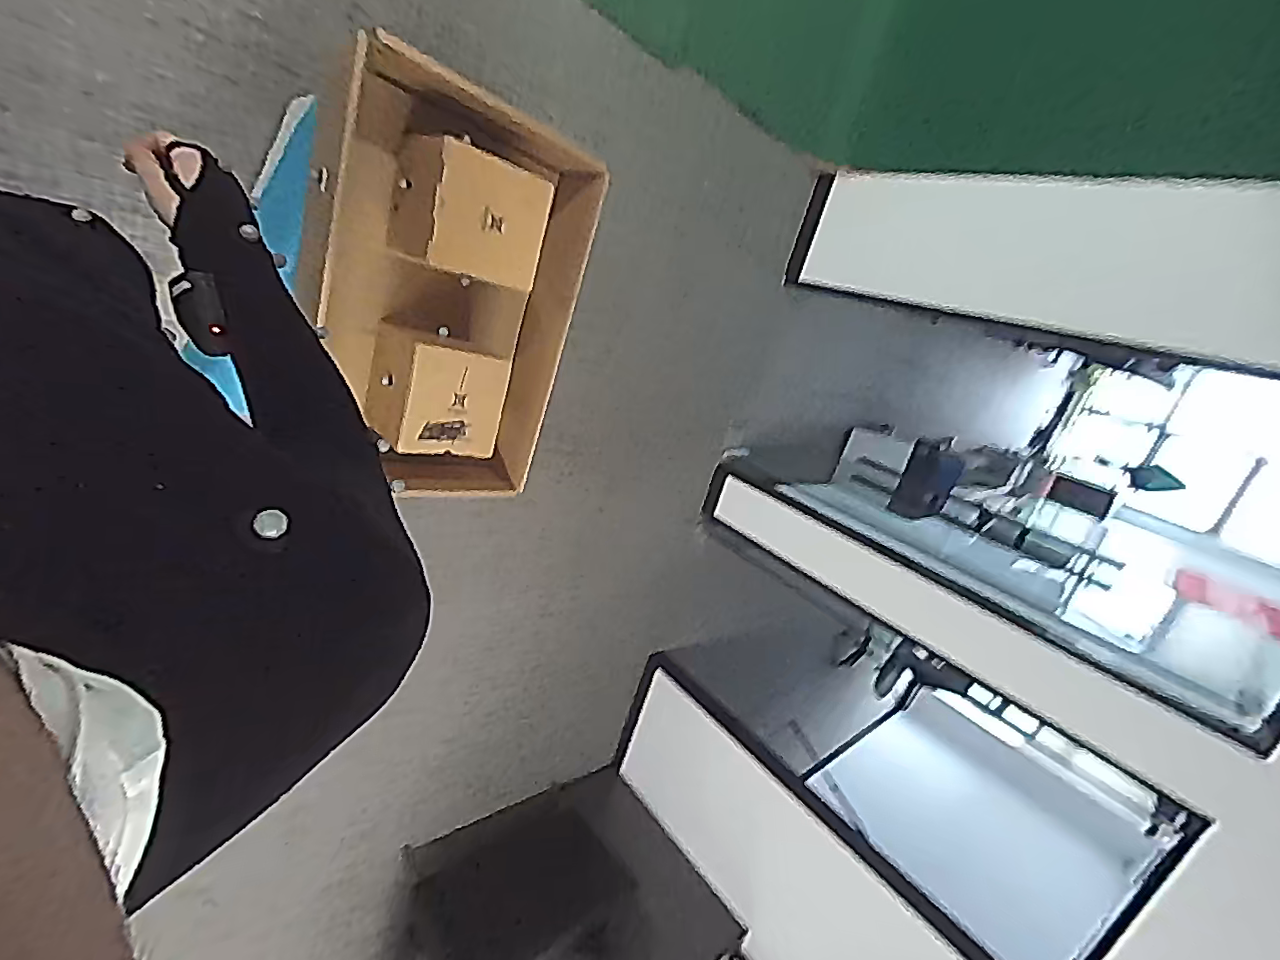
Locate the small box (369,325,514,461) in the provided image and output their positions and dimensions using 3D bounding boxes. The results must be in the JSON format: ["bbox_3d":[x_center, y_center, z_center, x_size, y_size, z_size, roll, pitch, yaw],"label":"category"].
[{"bbox_3d":[-0.346,-0.148,0.928,0.168,0.176,0.179,1,112,-46],"label":"small box"}]
